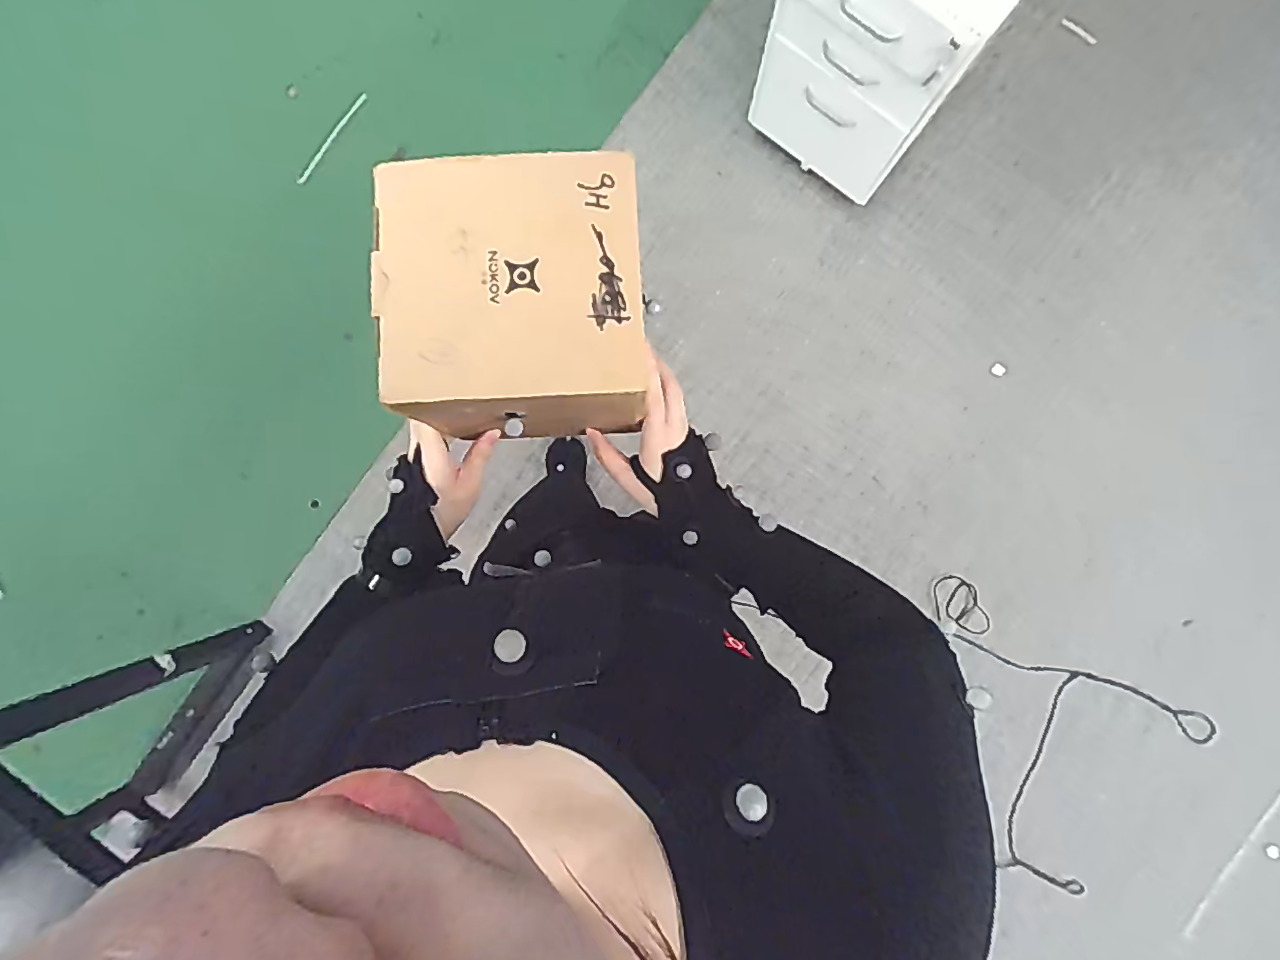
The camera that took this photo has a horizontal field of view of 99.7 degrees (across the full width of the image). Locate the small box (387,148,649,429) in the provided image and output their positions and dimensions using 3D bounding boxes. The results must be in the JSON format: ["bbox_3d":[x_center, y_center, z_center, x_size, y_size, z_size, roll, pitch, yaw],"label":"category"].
[{"bbox_3d":[-0.083,-0.136,0.442,0.179,0.176,0.168,-2,87,-1],"label":"small box"}]
